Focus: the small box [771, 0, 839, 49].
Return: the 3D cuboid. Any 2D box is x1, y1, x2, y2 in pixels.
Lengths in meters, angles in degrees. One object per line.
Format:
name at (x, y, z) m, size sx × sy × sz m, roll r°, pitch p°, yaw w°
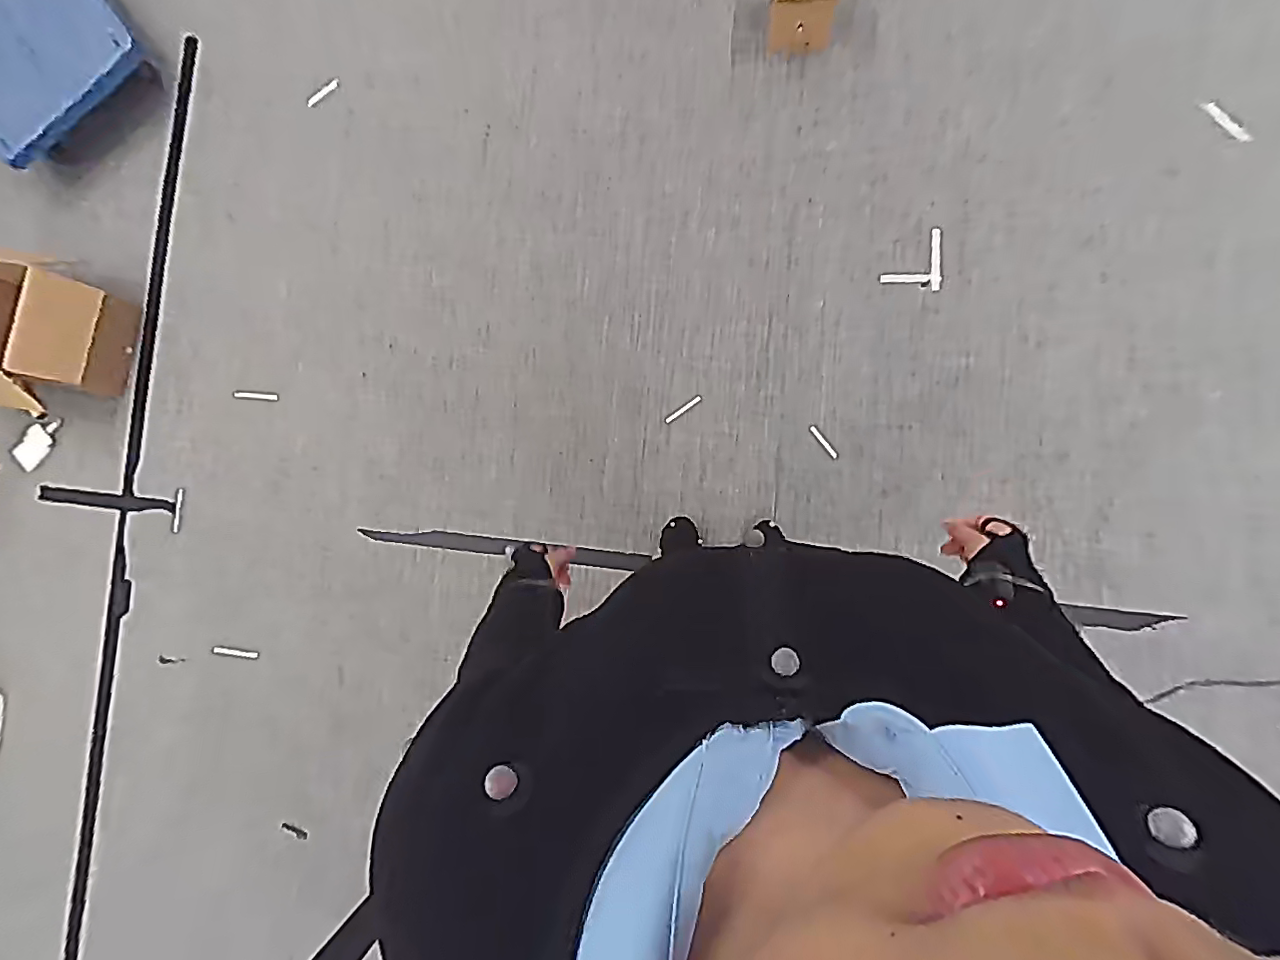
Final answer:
small box at (0.456, -1.333, 1.491) m, size 0.168 × 0.176 × 0.179 m, roll 3°, pitch 86°, yaw 7°
